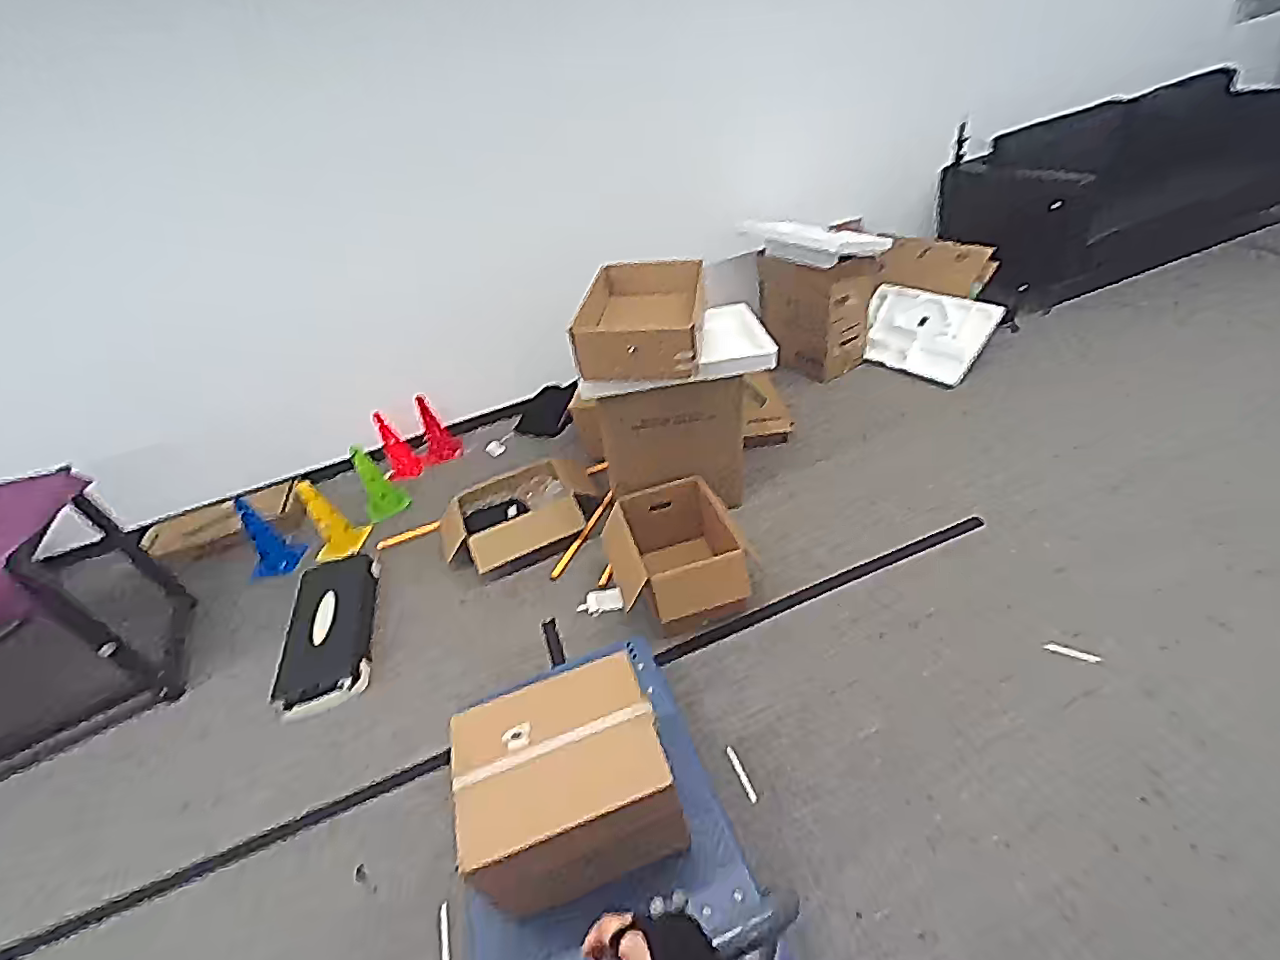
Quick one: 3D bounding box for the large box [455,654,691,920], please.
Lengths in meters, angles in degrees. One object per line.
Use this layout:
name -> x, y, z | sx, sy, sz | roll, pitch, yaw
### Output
large box -> -0.143, 0.659, 1.180 | 0.408, 0.320, 0.320 | -20, 37, -9
